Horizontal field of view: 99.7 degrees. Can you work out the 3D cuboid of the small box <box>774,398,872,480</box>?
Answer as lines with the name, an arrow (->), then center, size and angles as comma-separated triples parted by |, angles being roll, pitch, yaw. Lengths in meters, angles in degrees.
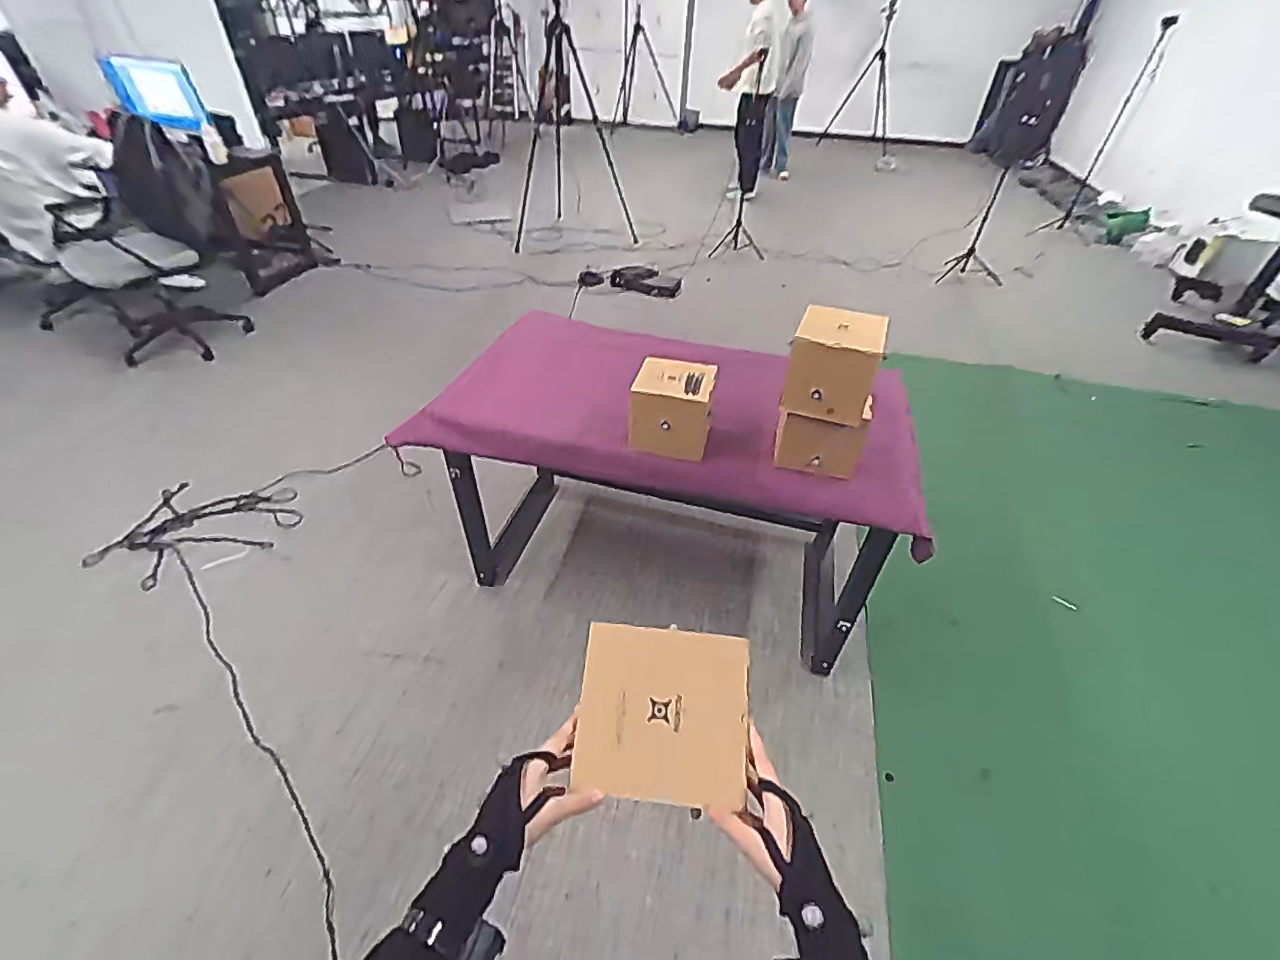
small box -> 0.416, -0.119, 1.244 | 0.179, 0.176, 0.168 | 10, 40, 10

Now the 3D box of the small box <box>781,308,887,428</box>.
small box -> 0.401, -0.234, 1.127 | 0.168, 0.176, 0.179 | 15, 43, 17

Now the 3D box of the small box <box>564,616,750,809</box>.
small box -> 0.024, 0.264, 0.619 | 0.179, 0.176, 0.168 | 5, 63, 5
